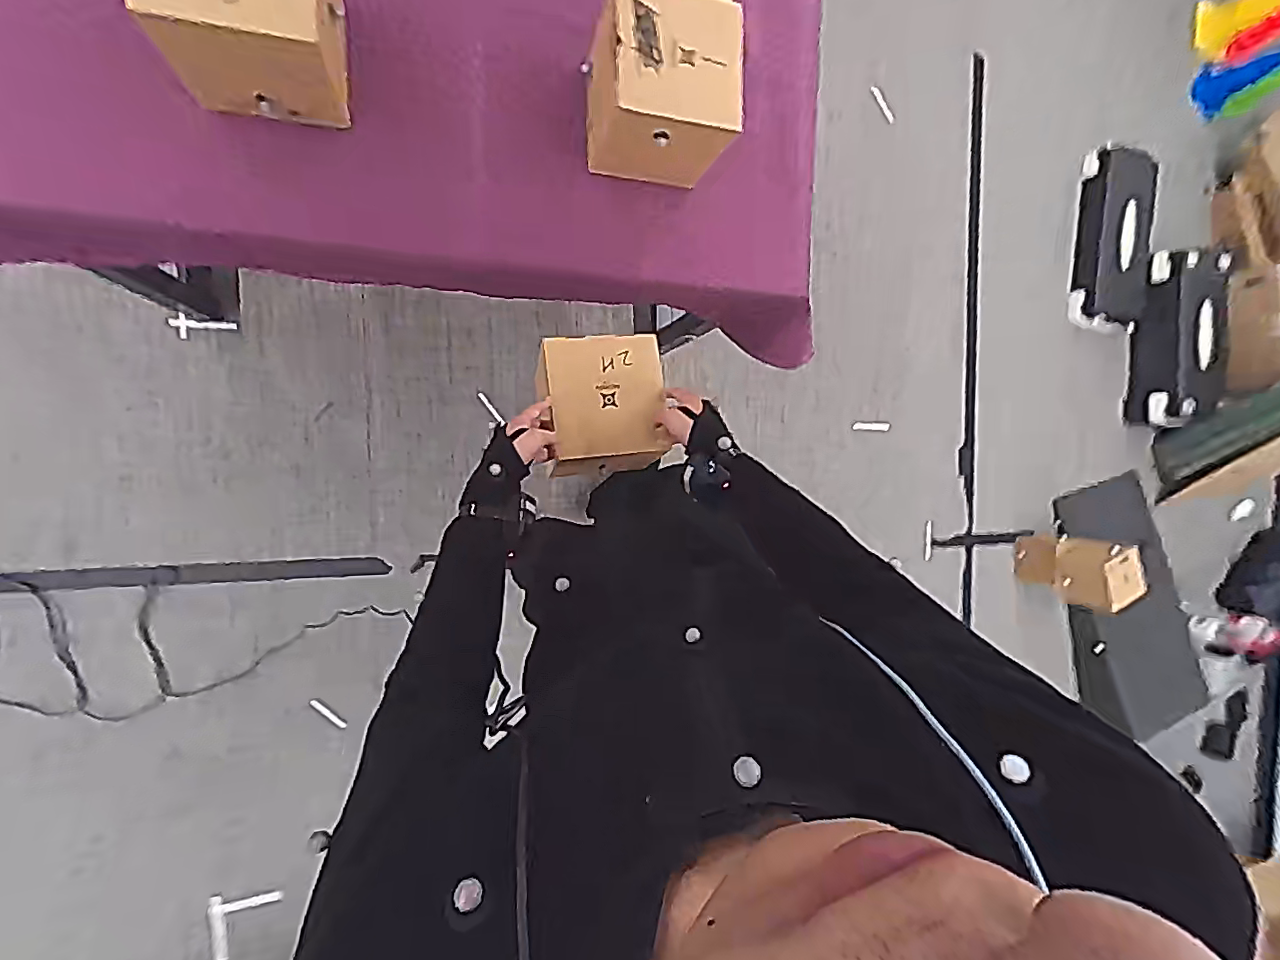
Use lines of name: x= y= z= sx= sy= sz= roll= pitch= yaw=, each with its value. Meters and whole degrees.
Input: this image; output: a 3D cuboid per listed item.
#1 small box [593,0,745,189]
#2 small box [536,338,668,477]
small box: x=0.032 y=-0.542 z=0.770 sx=0.179 sy=0.176 sz=0.168 roll=-1 pitch=93 yaw=-18
small box: x=-0.066 y=-0.103 z=0.834 sx=0.168 sy=0.176 sz=0.179 roll=-6 pitch=83 yaw=-15
